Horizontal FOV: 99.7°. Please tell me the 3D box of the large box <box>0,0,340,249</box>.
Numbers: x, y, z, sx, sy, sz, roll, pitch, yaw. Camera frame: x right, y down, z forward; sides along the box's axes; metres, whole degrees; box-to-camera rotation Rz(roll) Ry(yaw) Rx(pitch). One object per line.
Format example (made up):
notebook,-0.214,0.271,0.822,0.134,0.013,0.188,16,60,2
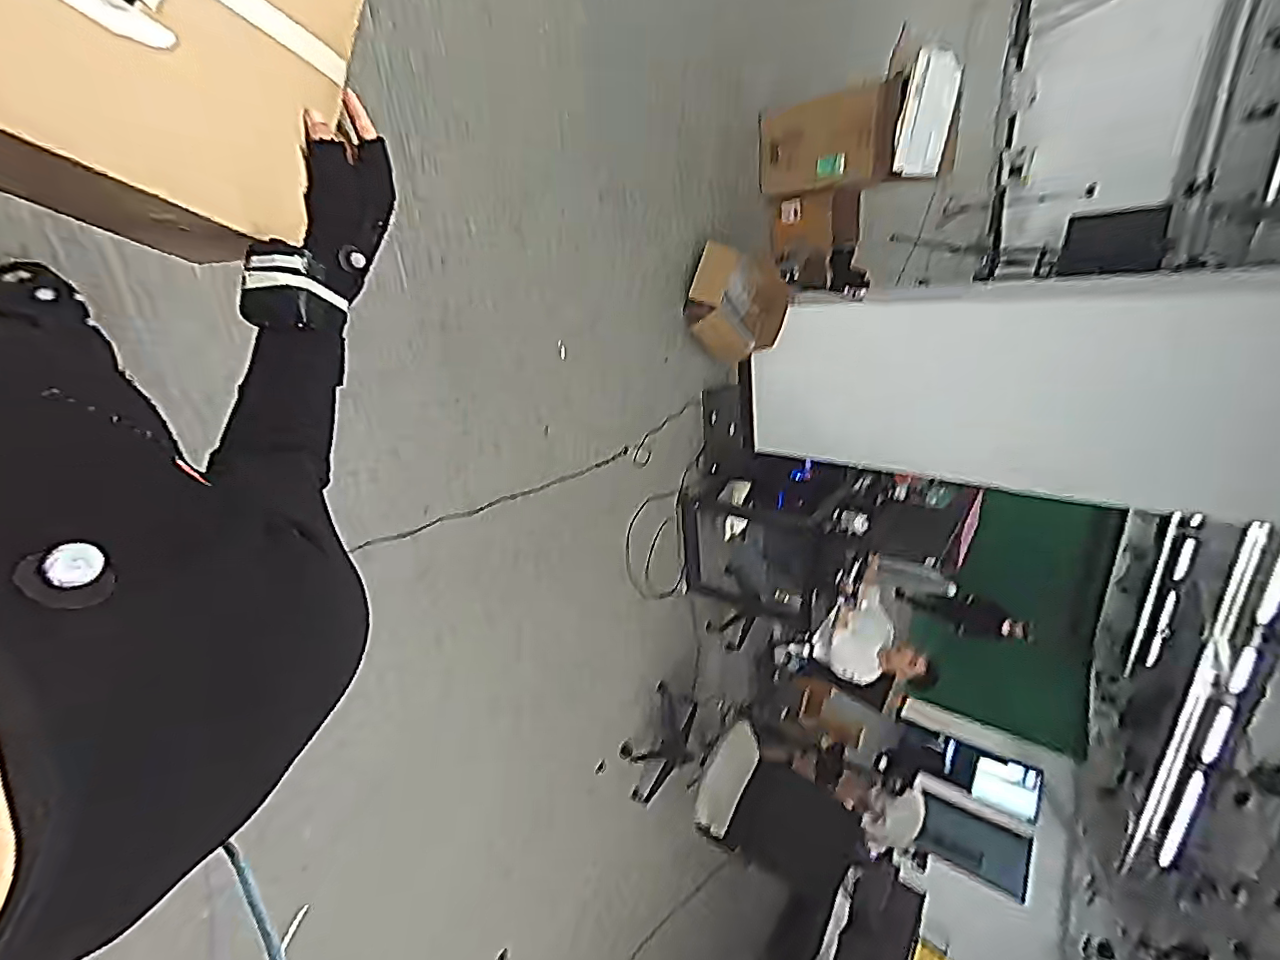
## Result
large box,-0.505,-0.410,0.397,0.408,0.320,0.320,11,95,-54
